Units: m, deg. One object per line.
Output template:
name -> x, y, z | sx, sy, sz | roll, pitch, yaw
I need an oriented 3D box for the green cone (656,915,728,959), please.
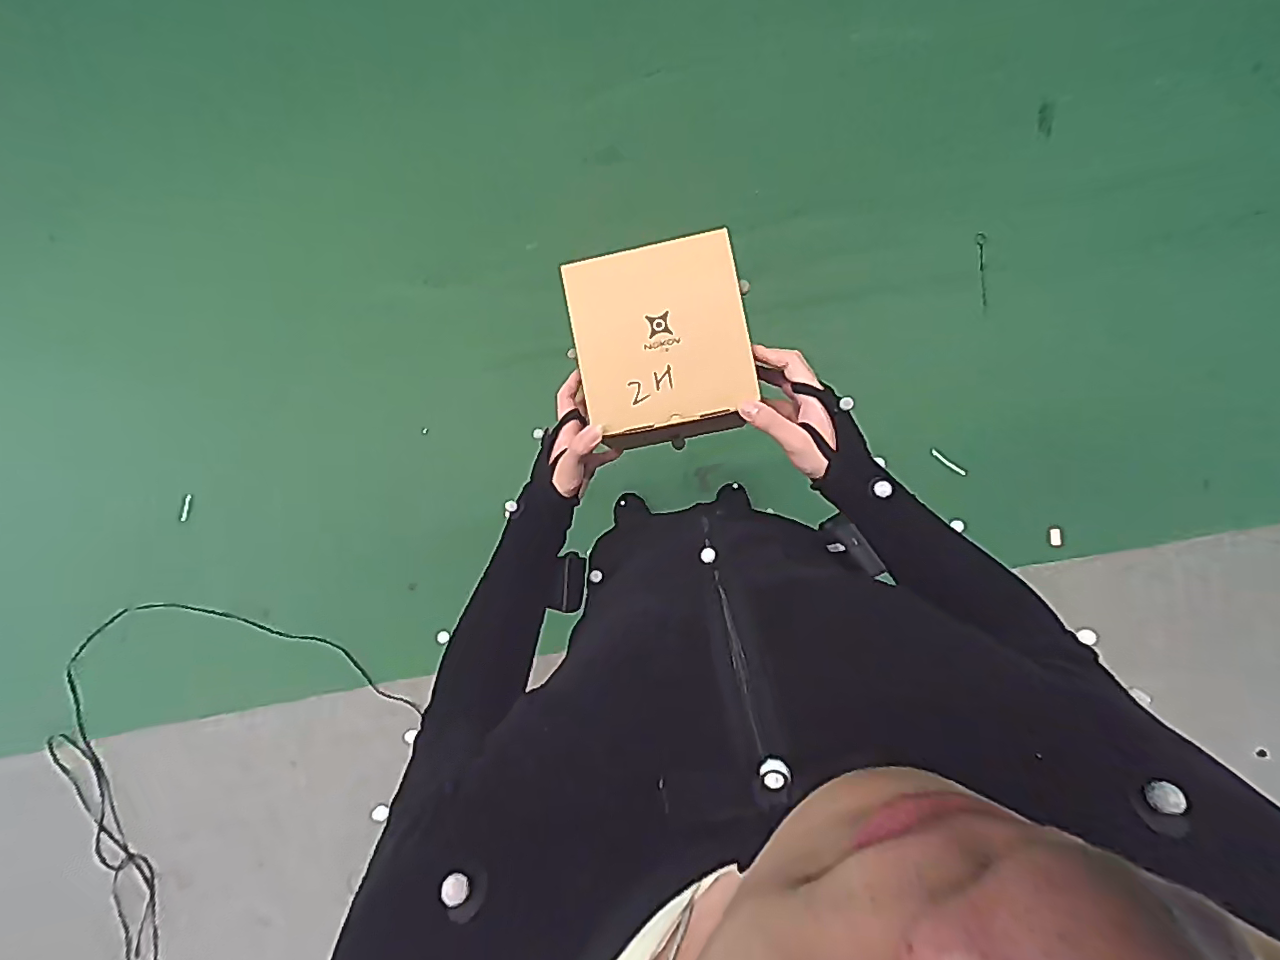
green cone -> 0.144, 1.410, 1.448 | 0.202, 0.368, 0.200 | -10, 89, 5
